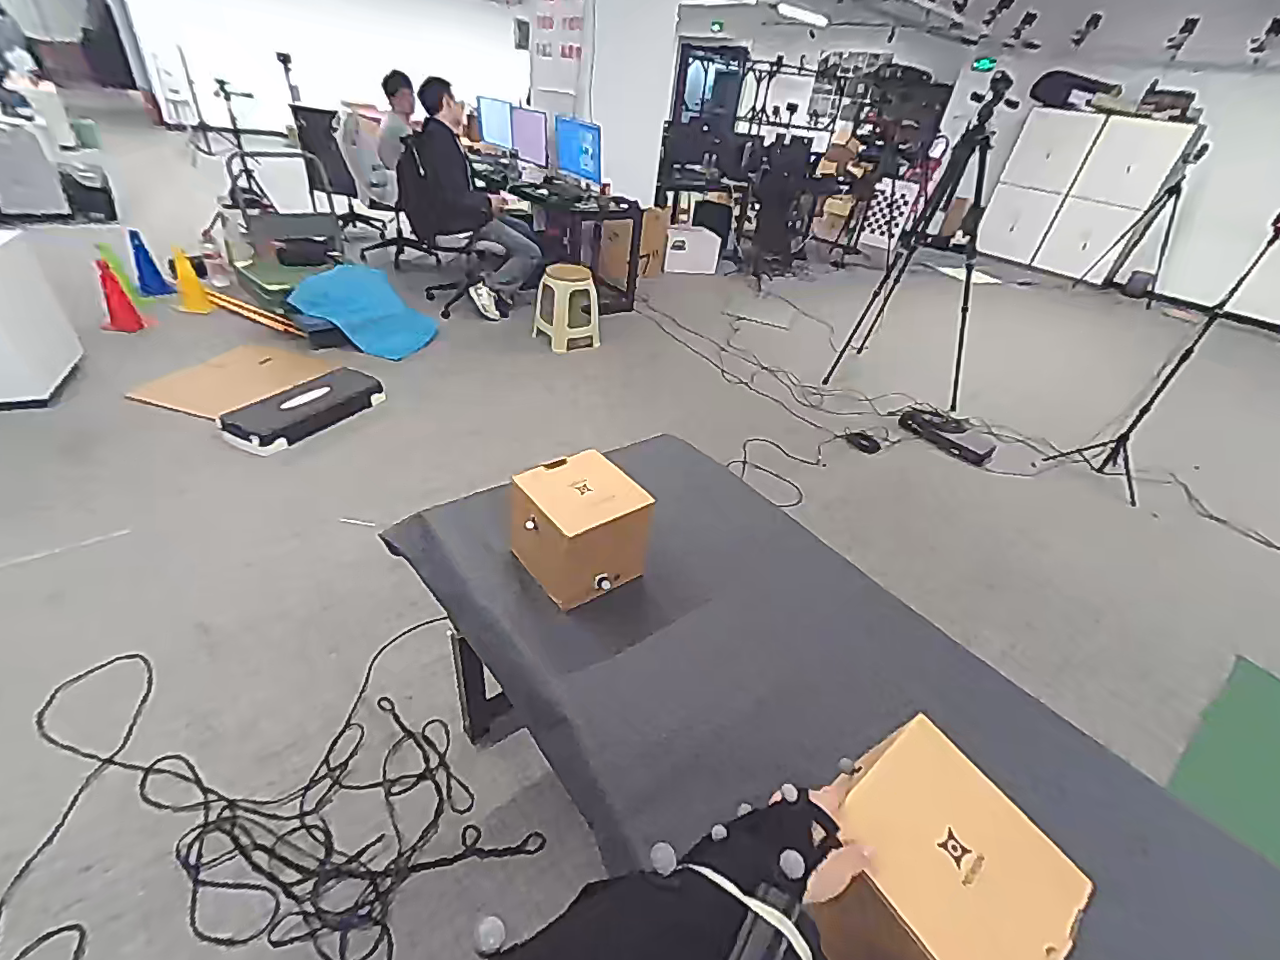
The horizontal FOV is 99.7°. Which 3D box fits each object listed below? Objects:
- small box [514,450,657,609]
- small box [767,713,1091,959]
[{"bbox_3d":[-0.097,0.079,0.898,0.168,0.176,0.179,-22,46,-34],"label":"small box"},{"bbox_3d":[0.250,0.366,0.506,0.168,0.176,0.179,-23,56,-32],"label":"small box"}]
